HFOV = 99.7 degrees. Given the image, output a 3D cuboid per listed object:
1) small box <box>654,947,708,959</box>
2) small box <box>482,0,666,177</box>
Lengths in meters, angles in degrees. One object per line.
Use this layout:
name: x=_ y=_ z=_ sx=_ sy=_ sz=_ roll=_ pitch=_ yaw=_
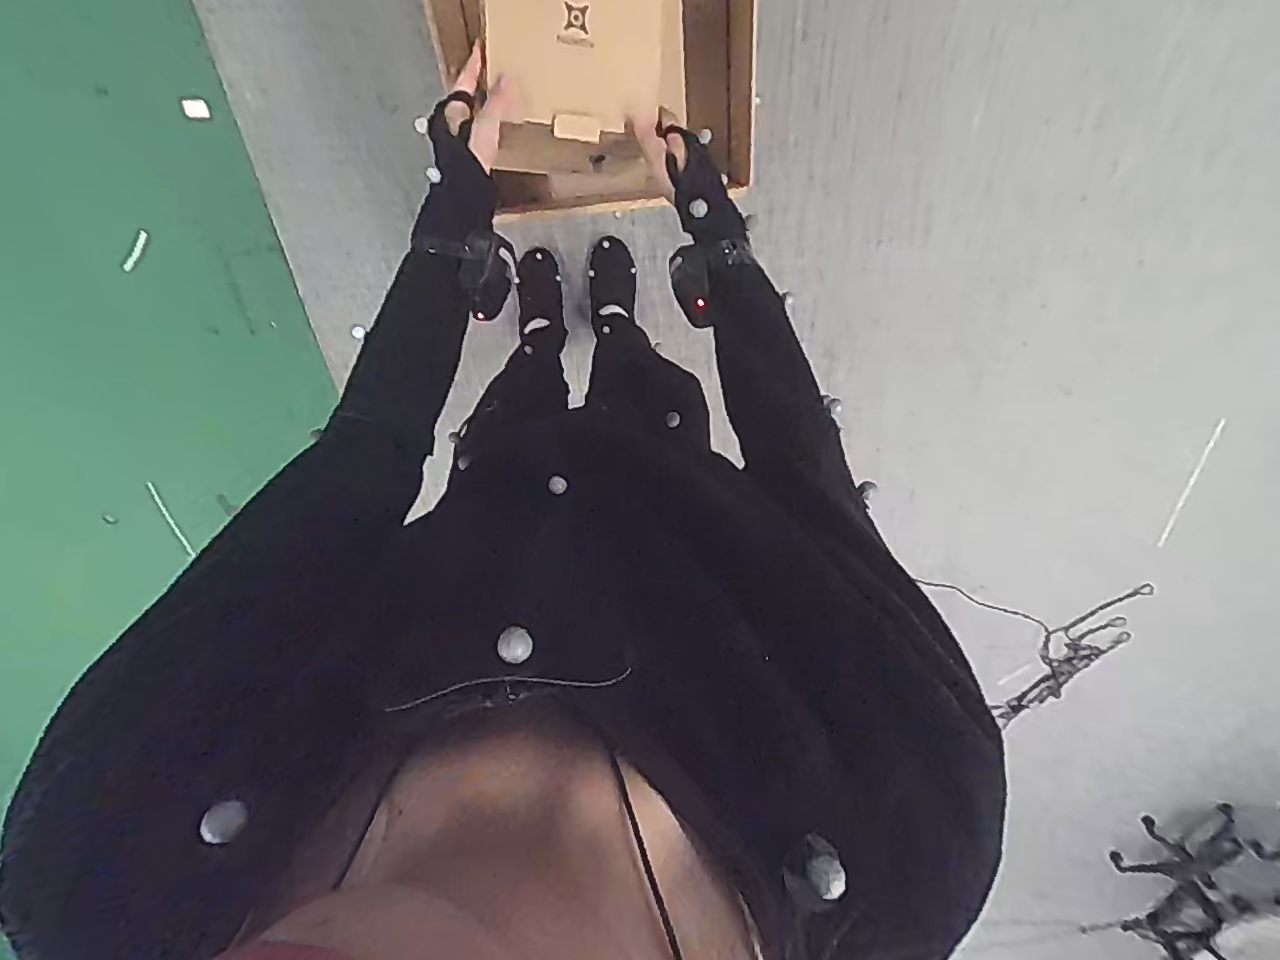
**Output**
small box: x=0.128 y=1.530 z=1.613 sx=0.168 sy=0.176 sz=0.179 roll=-2 pitch=120 yaw=0
small box: x=-0.078 y=-0.439 z=0.570 sx=0.168 sy=0.176 sz=0.179 roll=-2 pitch=106 yaw=-17
